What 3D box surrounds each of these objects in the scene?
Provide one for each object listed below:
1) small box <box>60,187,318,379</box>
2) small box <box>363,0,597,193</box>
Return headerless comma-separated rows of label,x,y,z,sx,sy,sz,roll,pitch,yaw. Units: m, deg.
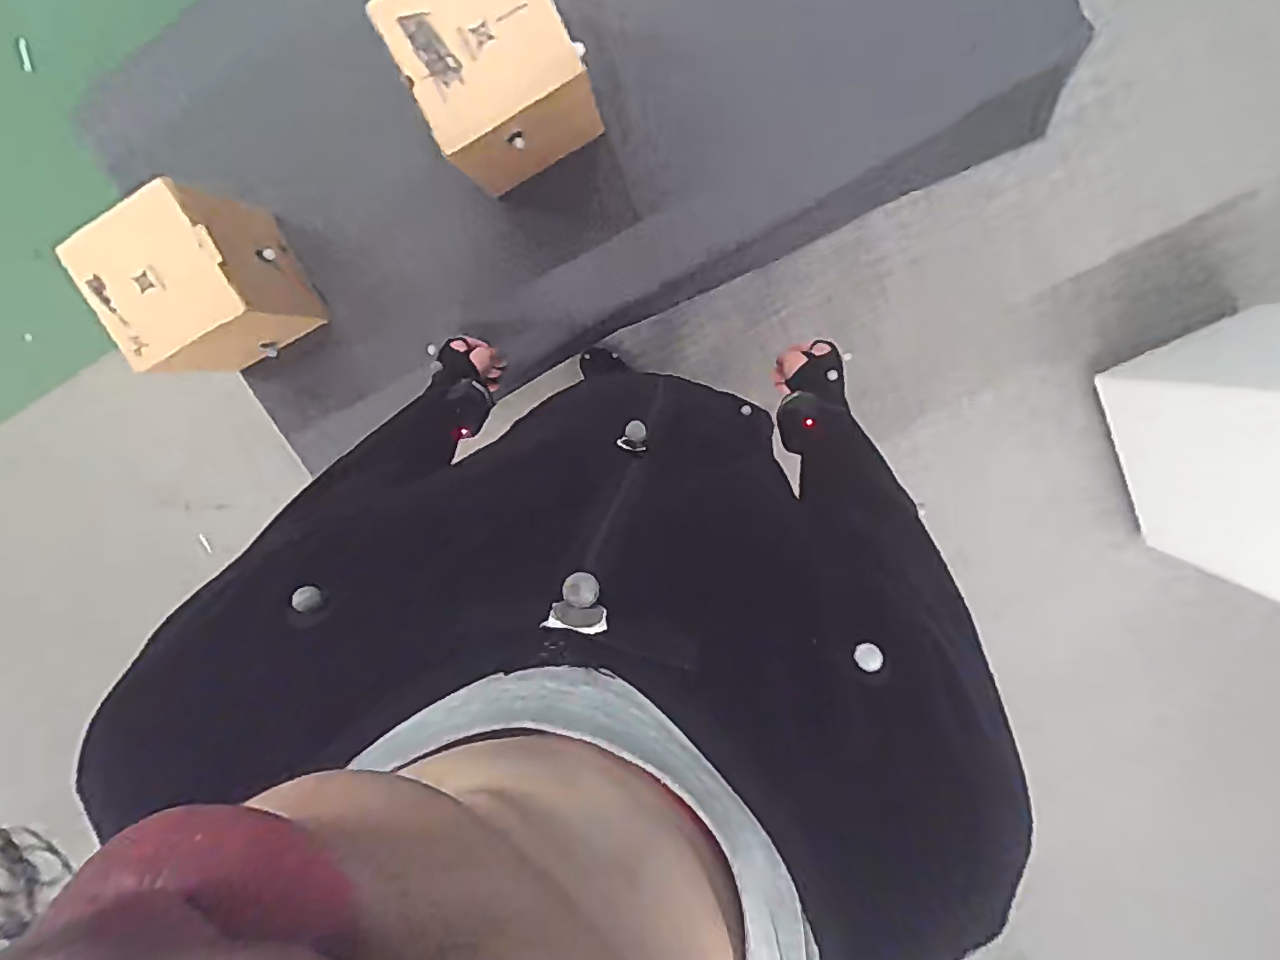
small box,-0.571,-0.250,0.720,0.179,0.176,0.168,-25,100,9
small box,-0.169,-0.472,0.634,0.179,0.176,0.168,-26,101,9
